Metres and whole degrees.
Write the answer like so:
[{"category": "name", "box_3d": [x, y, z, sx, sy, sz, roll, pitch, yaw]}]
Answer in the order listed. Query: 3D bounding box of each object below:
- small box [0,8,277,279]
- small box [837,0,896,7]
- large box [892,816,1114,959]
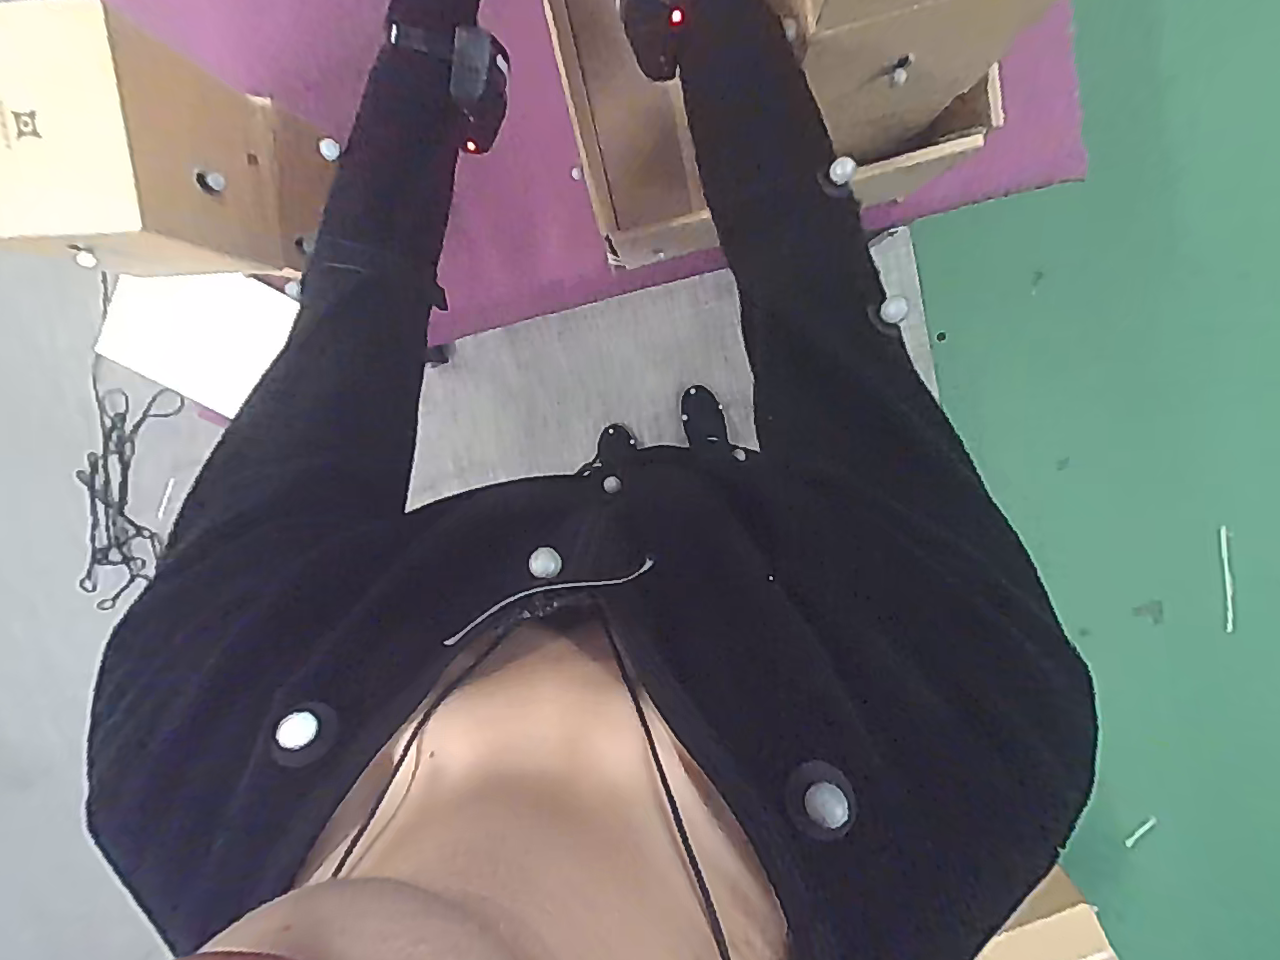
[{"category": "small box", "box_3d": [-0.474, -0.288, 0.502, 0.179, 0.176, 0.168, -1, 100, 4]}, {"category": "small box", "box_3d": [0.165, -0.360, 0.236, 0.168, 0.176, 0.179, -11, 99, 6]}, {"category": "large box", "box_3d": [1.023, 1.266, 1.539, 0.408, 0.320, 0.320, -29, 98, 6]}]
